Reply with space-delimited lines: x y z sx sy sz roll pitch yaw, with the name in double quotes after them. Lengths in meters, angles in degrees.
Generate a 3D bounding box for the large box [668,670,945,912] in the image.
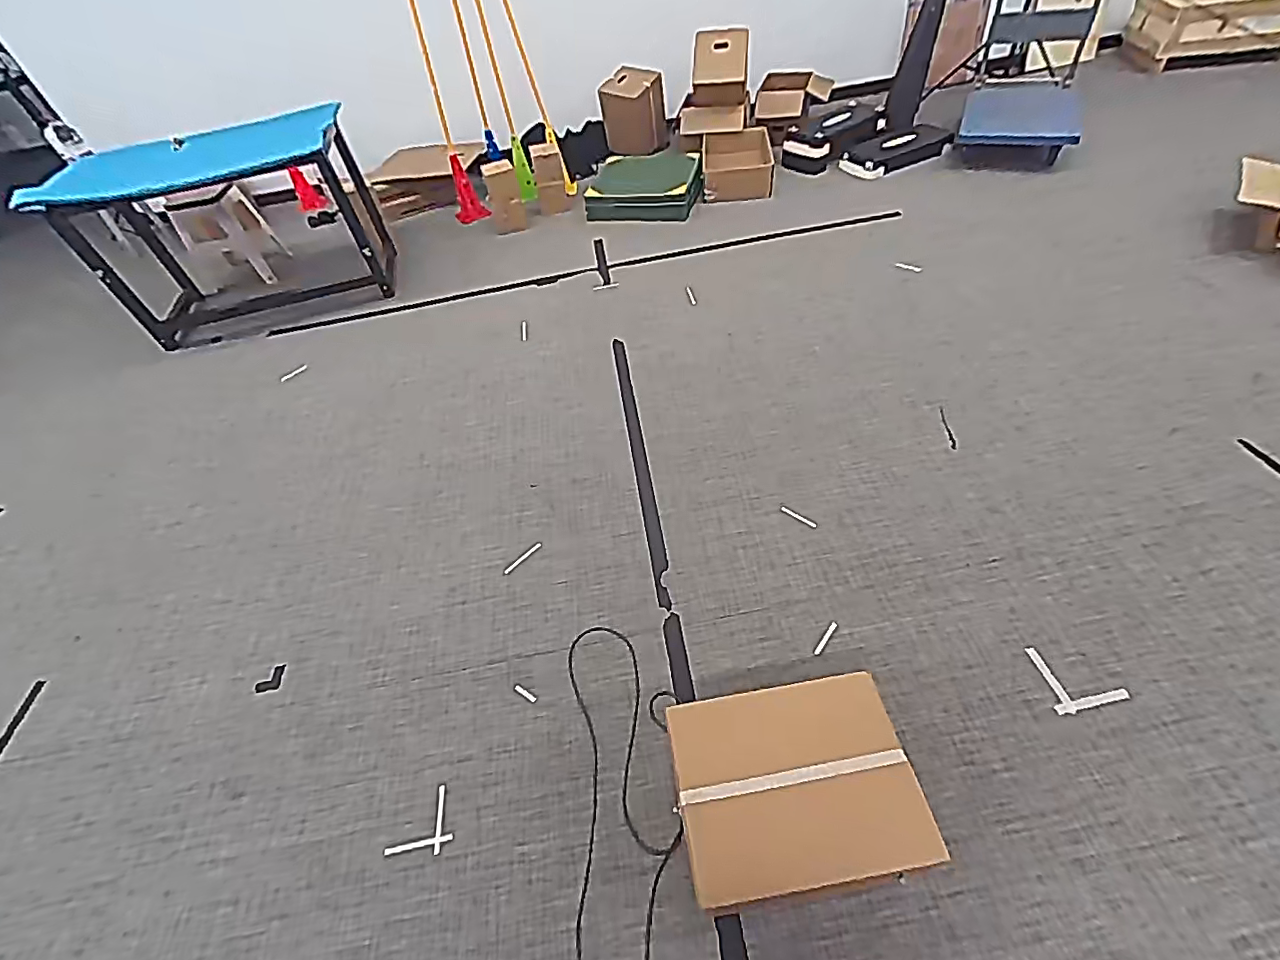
0.287 0.614 1.063 0.408 0.320 0.320 -10 49 -2 "large box"
